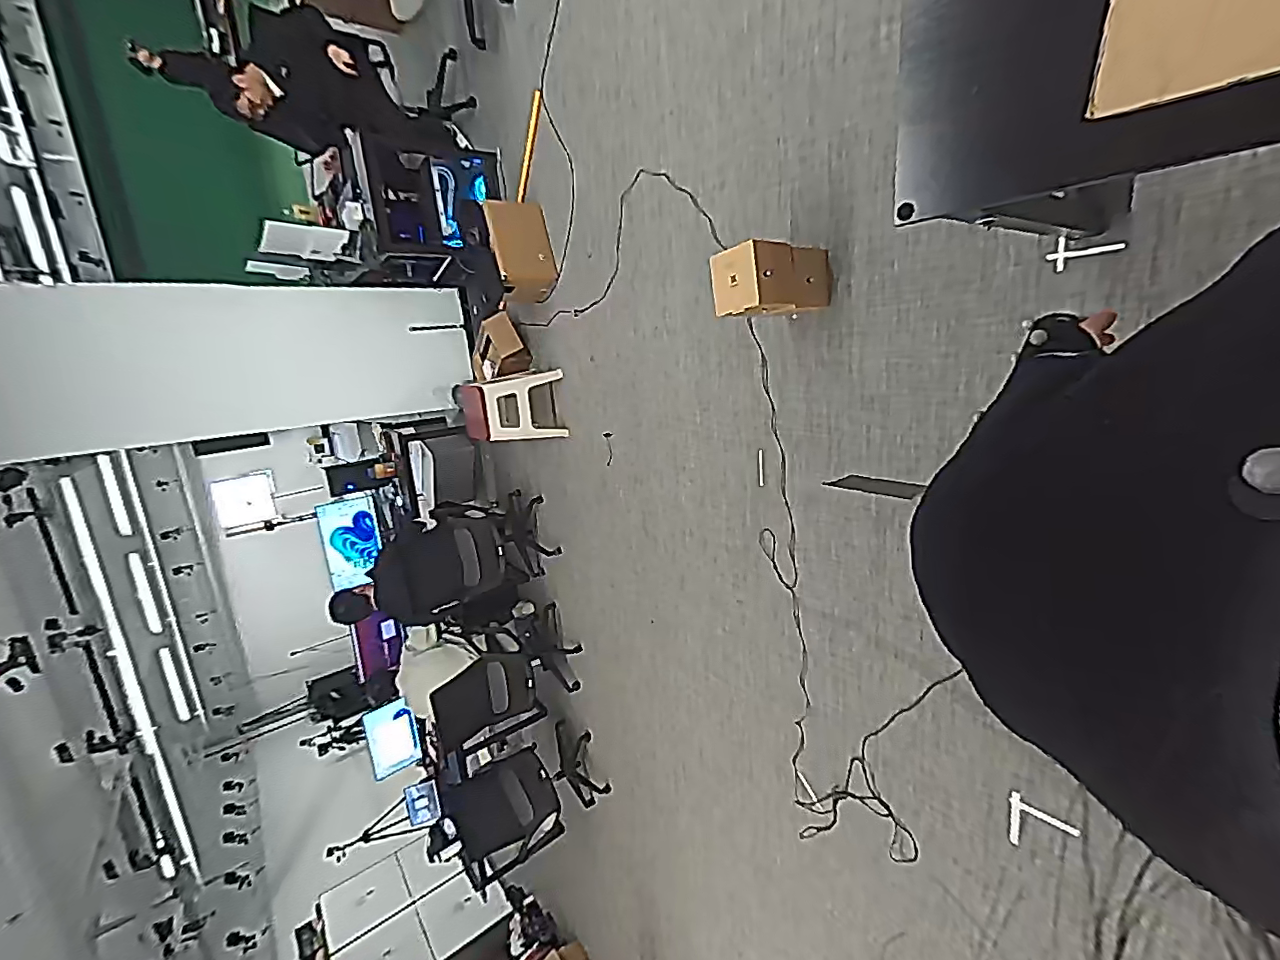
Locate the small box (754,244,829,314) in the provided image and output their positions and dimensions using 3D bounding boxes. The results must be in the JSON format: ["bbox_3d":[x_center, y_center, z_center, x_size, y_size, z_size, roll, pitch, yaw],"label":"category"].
[{"bbox_3d":[0.463,-0.612,1.664,0.168,0.176,0.179,7,108,53],"label":"small box"}]

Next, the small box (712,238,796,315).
[{"bbox_3d":[0.334,-0.586,1.568,0.168,0.176,0.179,3,103,53],"label":"small box"}]
